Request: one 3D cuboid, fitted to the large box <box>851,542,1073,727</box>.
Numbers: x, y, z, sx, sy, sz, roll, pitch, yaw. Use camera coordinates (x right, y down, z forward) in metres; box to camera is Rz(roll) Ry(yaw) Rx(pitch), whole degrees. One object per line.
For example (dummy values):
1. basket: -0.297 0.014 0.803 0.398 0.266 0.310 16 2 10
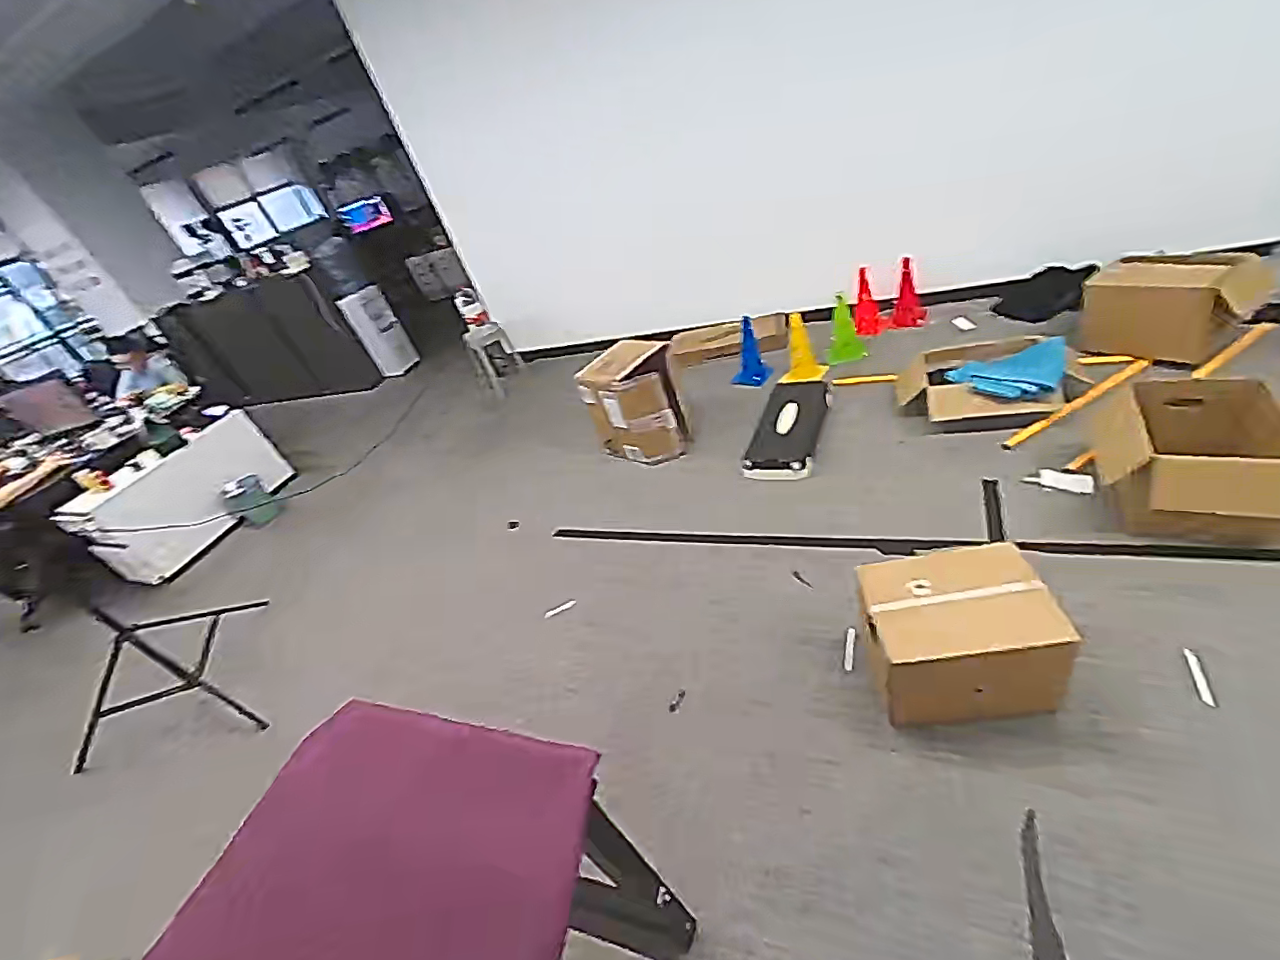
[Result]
1. large box: 0.818 0.413 1.430 0.408 0.320 0.320 -13 35 12
